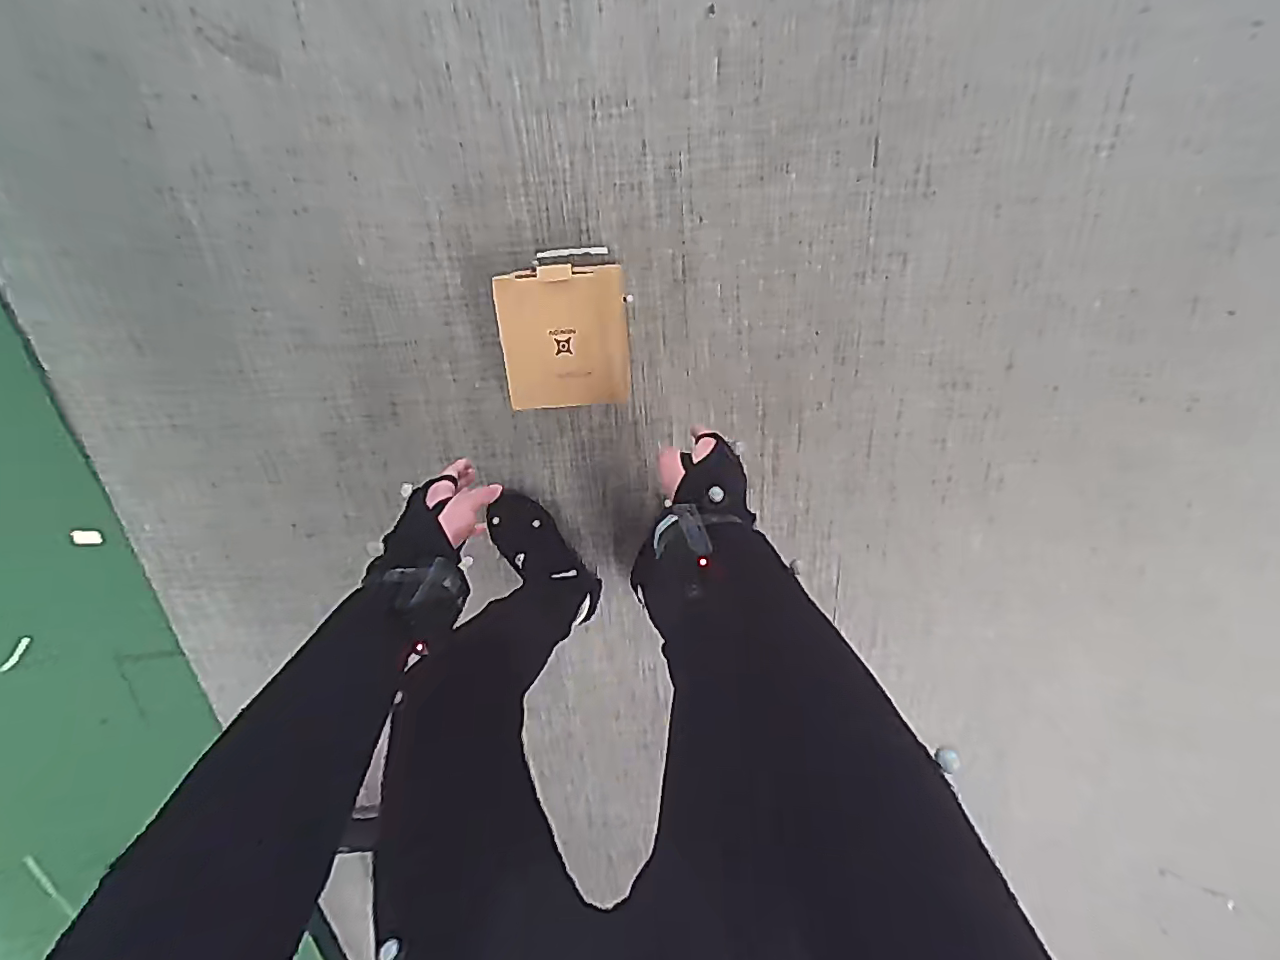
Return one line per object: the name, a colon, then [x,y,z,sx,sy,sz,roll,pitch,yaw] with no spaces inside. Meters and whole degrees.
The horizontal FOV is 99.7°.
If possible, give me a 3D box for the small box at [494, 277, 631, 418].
small box: [-0.099,-0.196,0.774,0.168,0.176,0.179,-1,113,2]
